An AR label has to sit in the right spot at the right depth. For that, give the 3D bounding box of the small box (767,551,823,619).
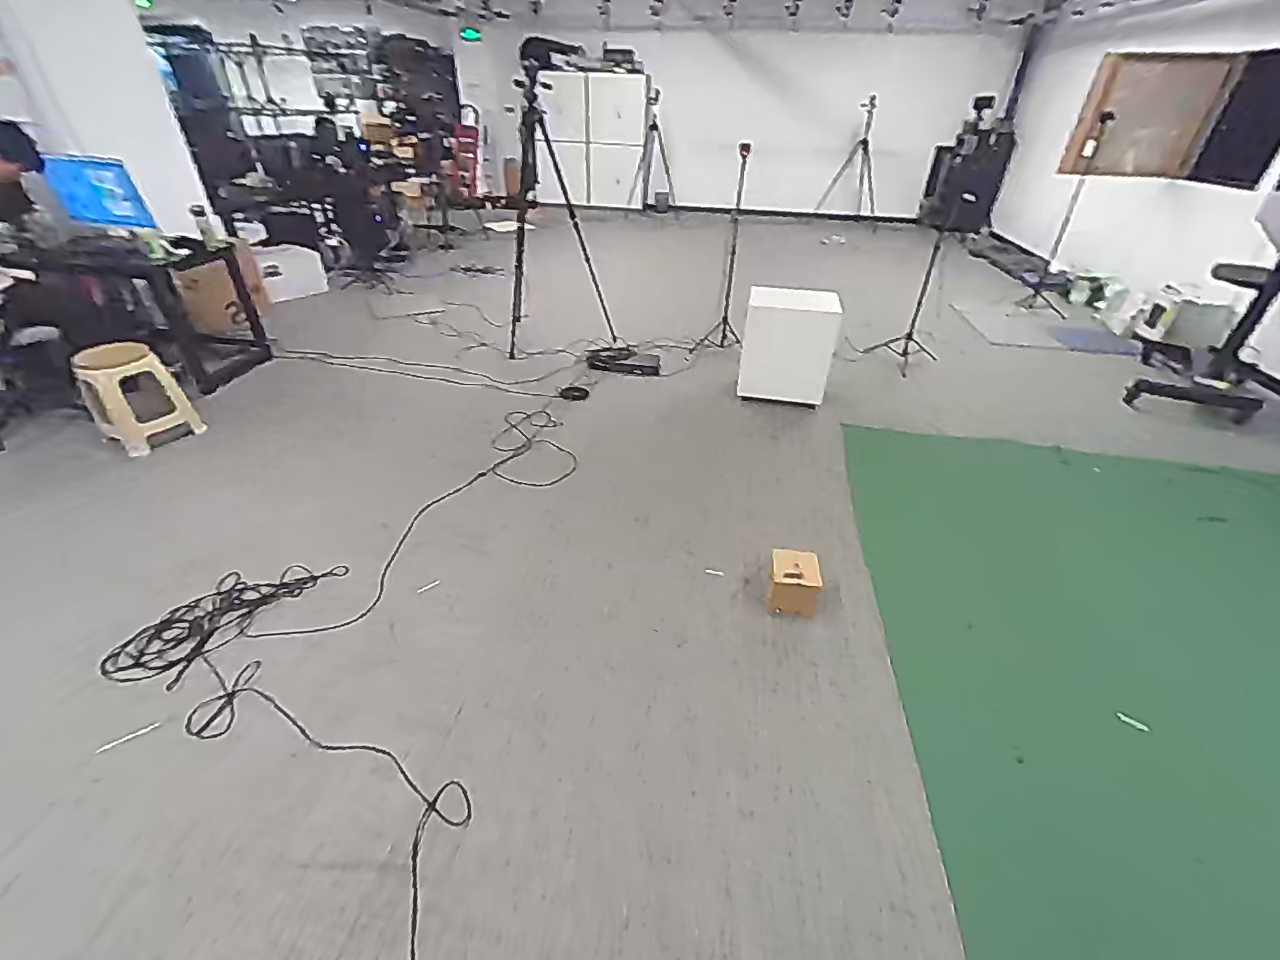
[{"bbox_3d":[0.562,0.385,1.976,0.168,0.176,0.179,6,35,6],"label":"small box"}]
